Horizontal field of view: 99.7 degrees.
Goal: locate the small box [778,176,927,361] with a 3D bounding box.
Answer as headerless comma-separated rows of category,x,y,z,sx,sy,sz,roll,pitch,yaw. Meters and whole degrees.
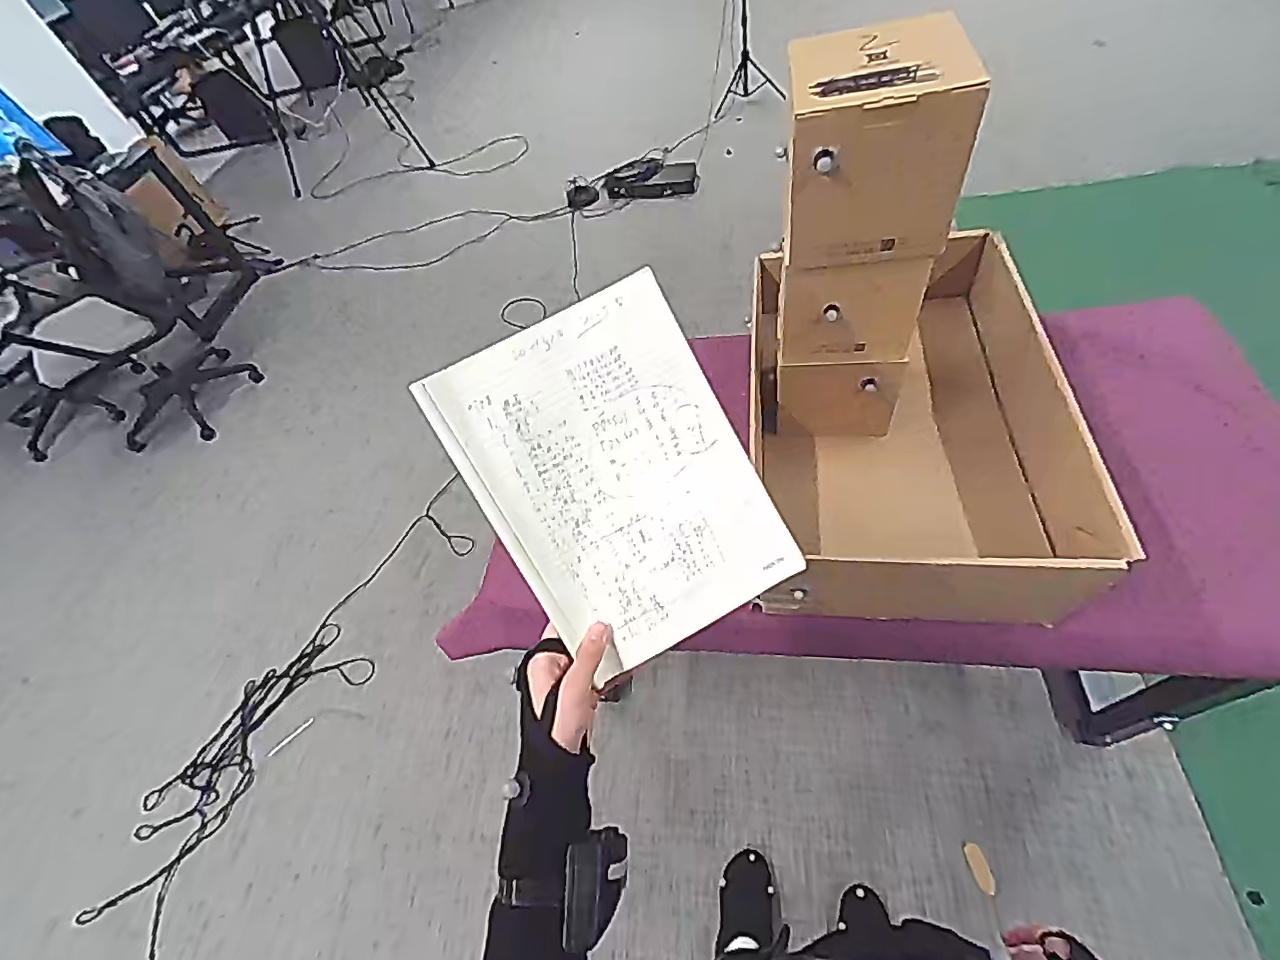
small box,0.275,-0.276,0.736,0.168,0.176,0.179,1,56,14
